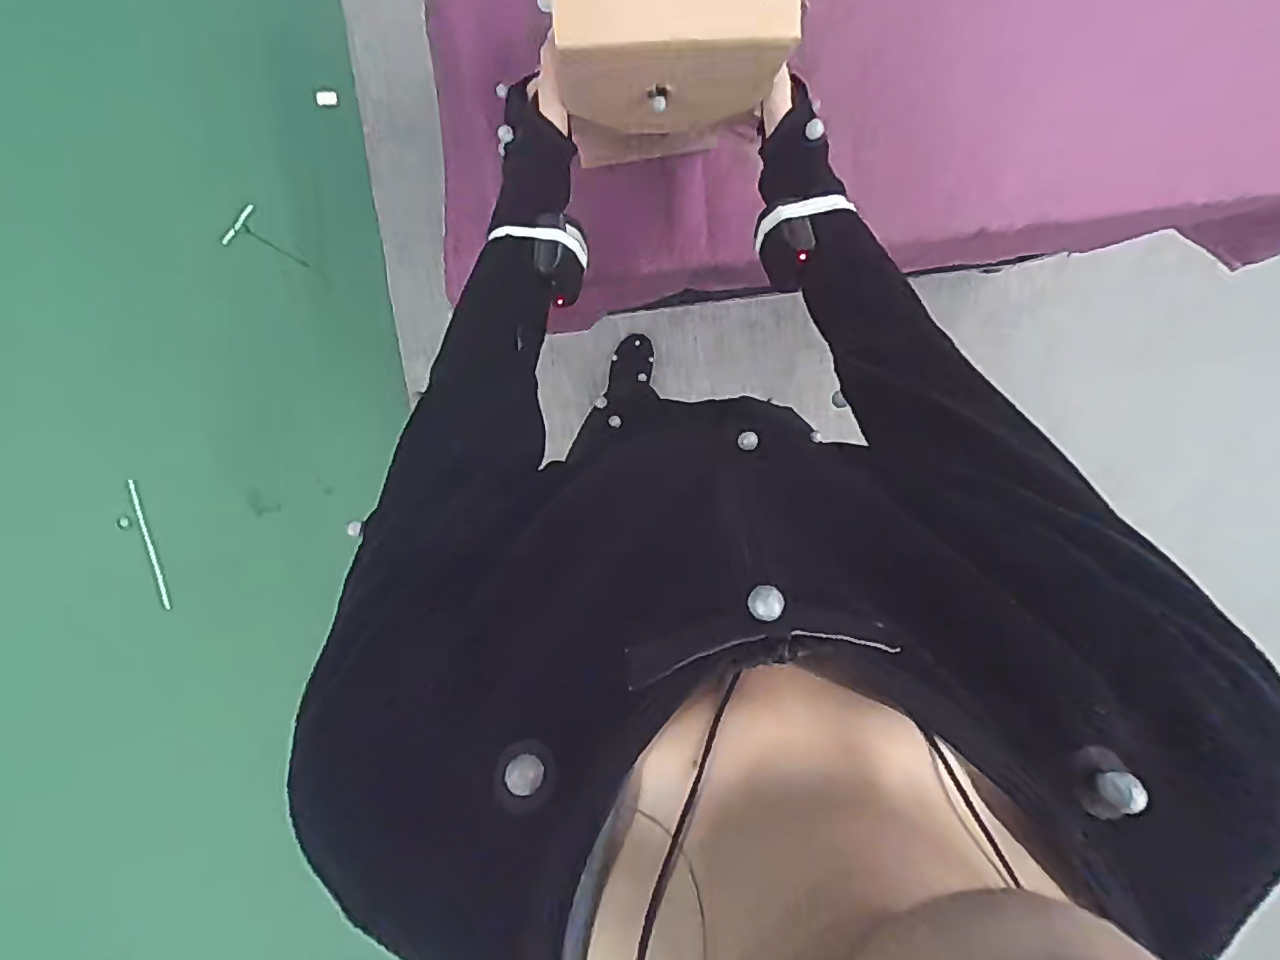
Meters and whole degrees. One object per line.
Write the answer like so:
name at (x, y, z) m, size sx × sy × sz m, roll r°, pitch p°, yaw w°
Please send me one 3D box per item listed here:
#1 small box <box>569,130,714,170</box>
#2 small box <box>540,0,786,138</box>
small box at (-0.003, -0.468, 0.598) m, size 0.179 × 0.176 × 0.168 m, roll -9°, pitch 102°, yaw 0°
small box at (0.011, -0.405, 0.444) m, size 0.179 × 0.176 × 0.168 m, roll -3°, pitch 102°, yaw -1°
